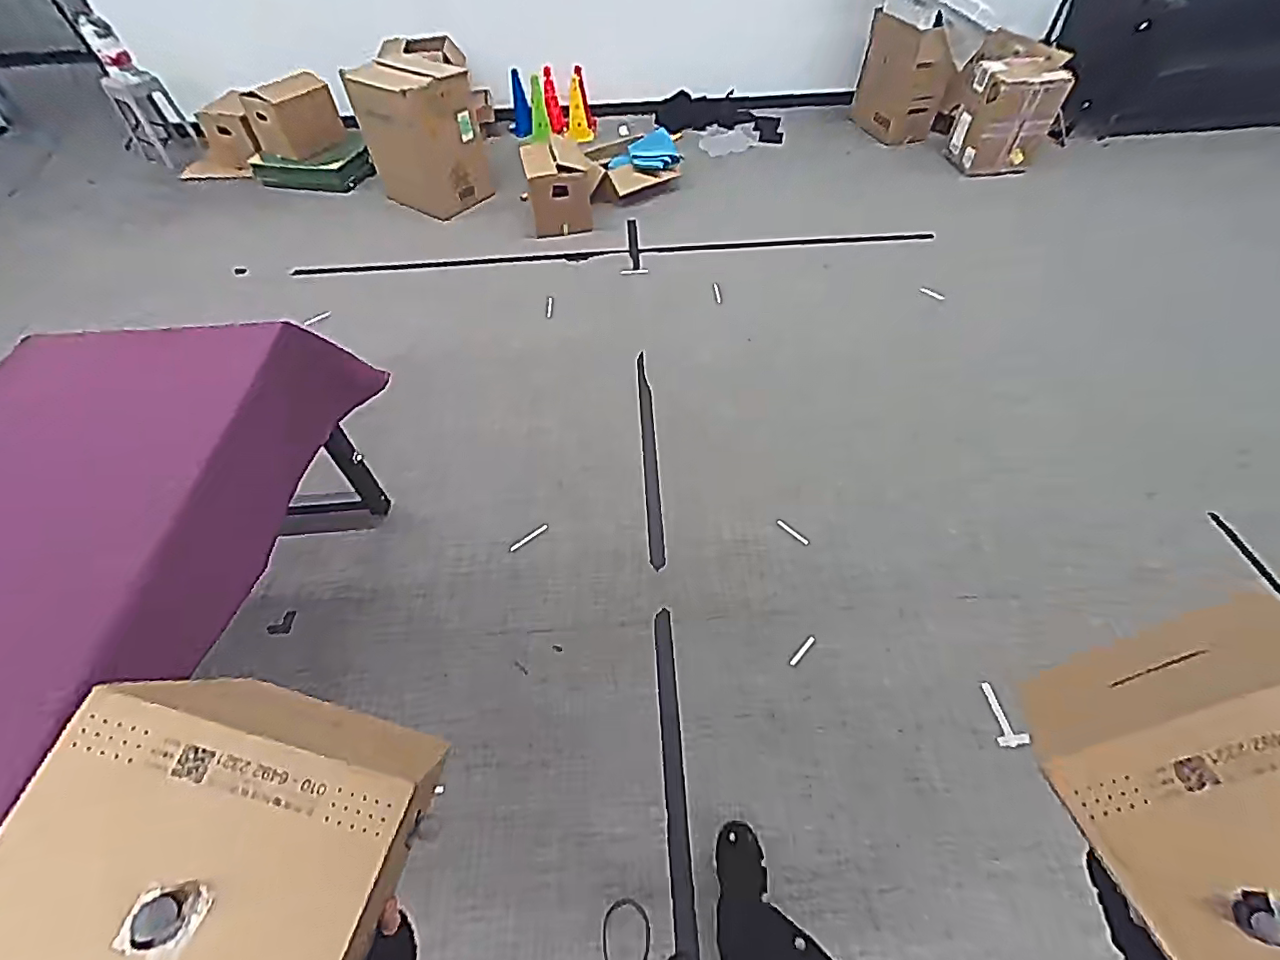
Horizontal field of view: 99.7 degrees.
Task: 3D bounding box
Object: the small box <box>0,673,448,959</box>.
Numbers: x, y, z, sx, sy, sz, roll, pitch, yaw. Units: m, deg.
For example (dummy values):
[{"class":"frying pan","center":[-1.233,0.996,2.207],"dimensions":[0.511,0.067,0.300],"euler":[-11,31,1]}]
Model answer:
[{"class":"small box","center":[-0.230,0.218,0.313],"dimensions":[0.168,0.179,0.176],"euler":[21,66,-5]}]
